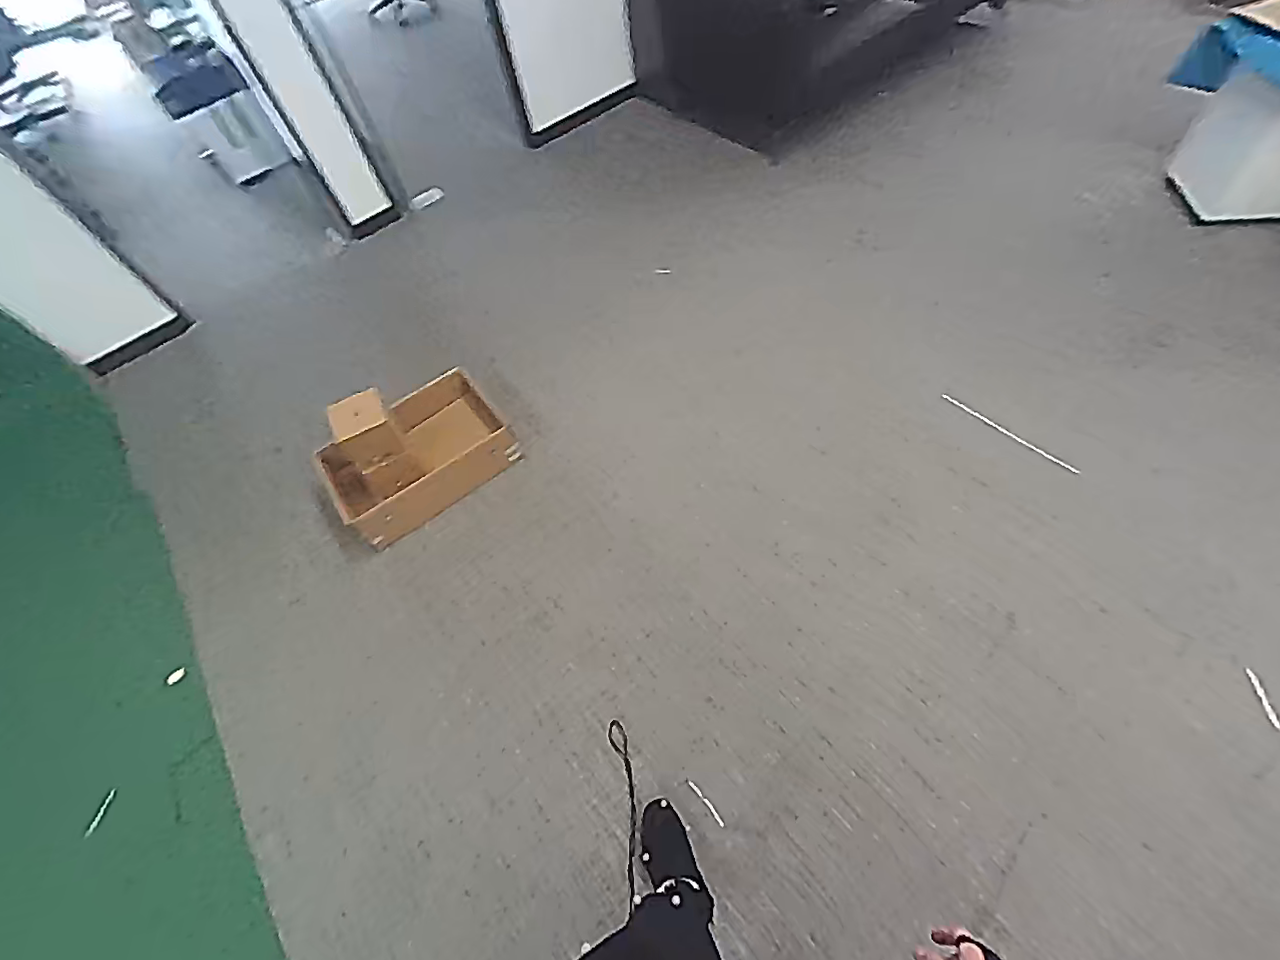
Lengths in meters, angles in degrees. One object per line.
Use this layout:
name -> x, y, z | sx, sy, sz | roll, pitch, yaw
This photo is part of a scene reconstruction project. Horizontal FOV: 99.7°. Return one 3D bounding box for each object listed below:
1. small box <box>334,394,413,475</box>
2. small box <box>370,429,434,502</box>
small box -> -0.892, -0.150, 1.818 | 0.168, 0.176, 0.179 | -28, 58, -13
small box -> -0.875, -0.054, 1.949 | 0.168, 0.176, 0.179 | -30, 59, -15
